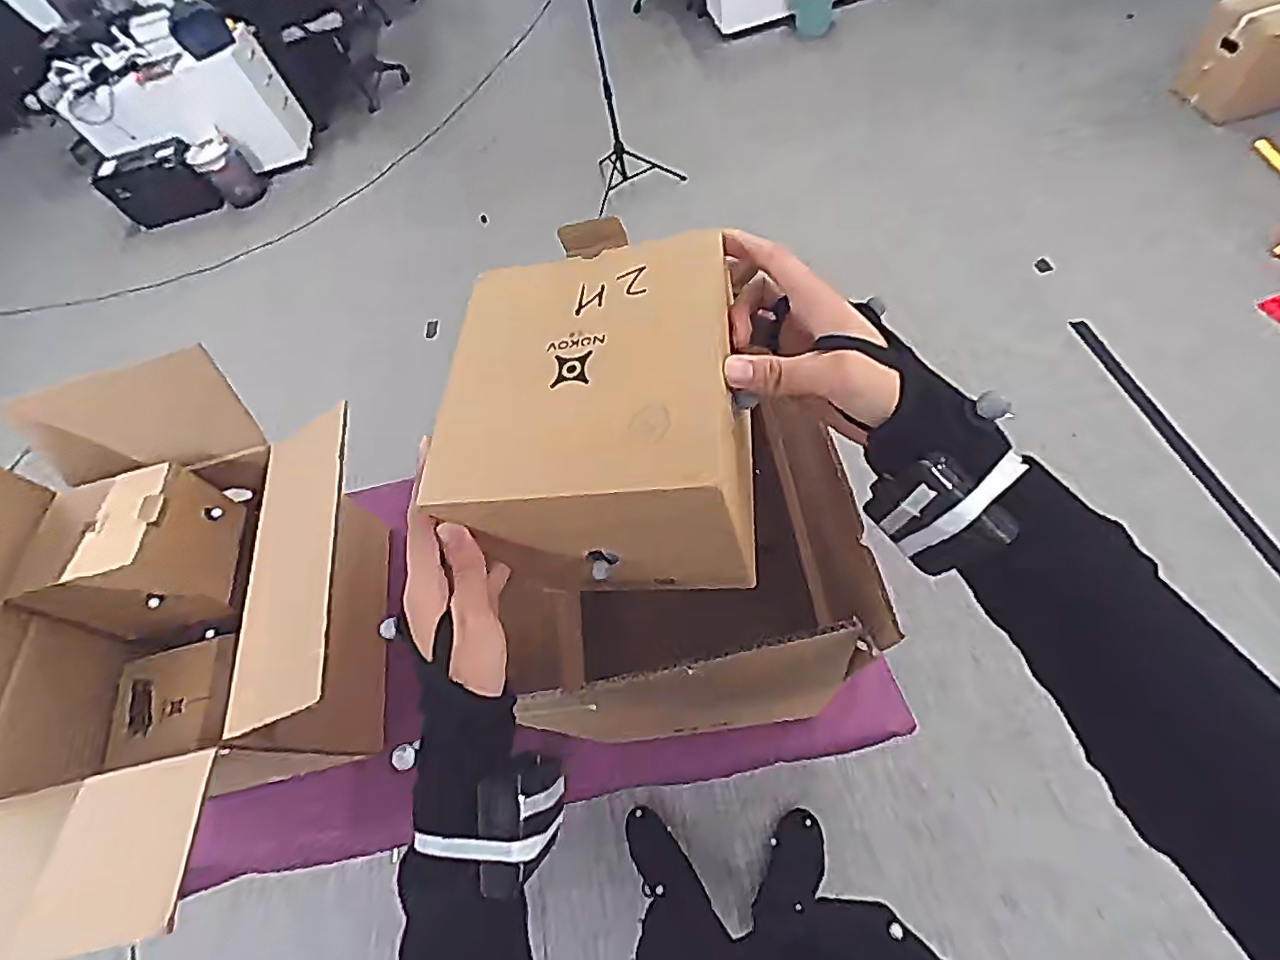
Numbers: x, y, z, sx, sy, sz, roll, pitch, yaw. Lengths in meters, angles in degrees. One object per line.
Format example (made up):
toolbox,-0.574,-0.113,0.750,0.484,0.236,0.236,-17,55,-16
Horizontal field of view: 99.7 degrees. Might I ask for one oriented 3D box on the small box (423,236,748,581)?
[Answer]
small box,-0.016,-0.031,0.383,0.168,0.176,0.179,-4,61,16
